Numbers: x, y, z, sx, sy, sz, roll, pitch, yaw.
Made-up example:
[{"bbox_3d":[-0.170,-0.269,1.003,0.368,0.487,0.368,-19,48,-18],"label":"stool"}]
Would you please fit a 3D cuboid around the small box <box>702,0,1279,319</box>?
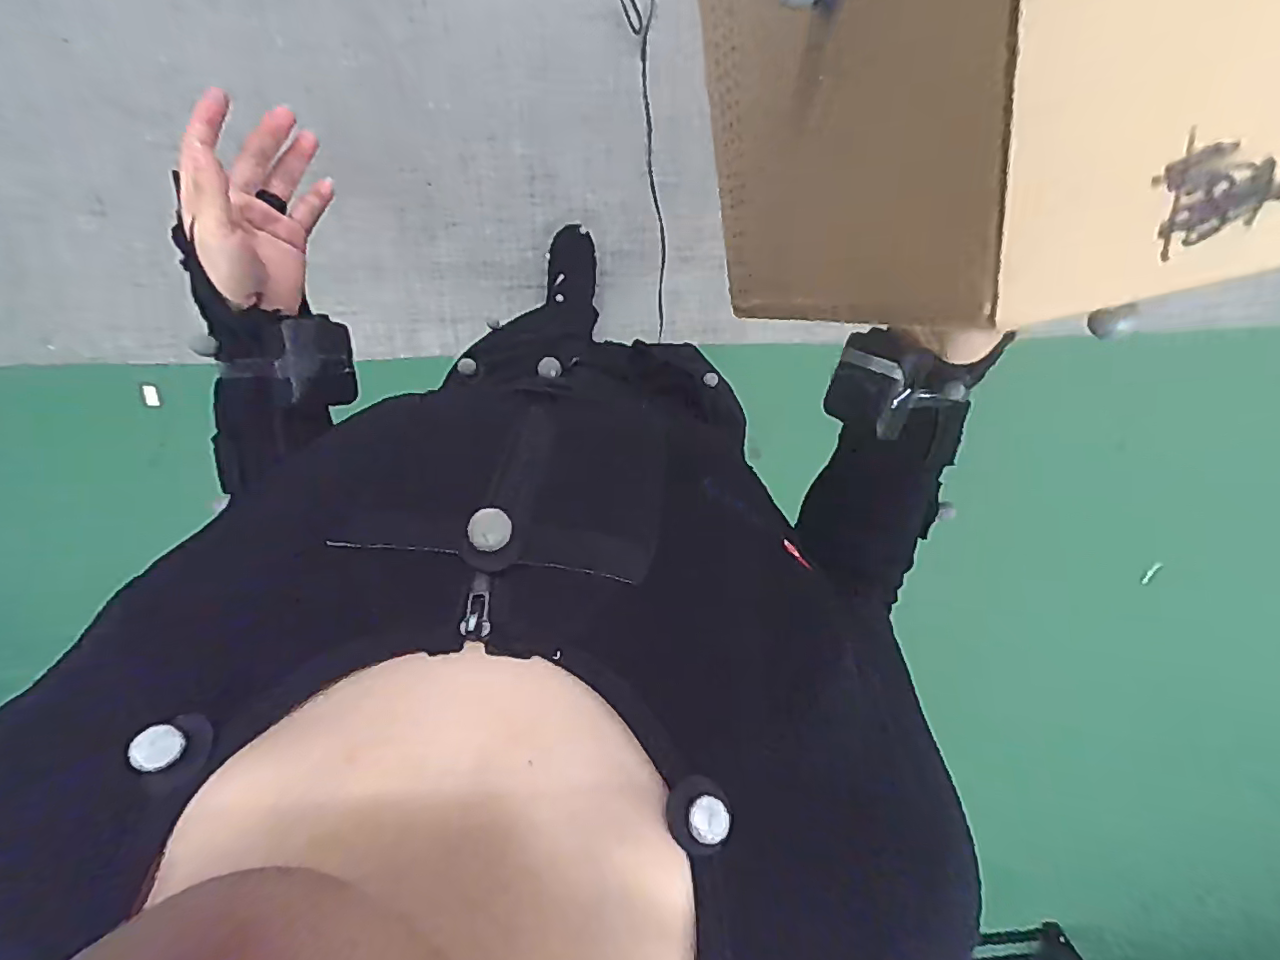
[{"bbox_3d":[0.132,-0.165,0.202,0.168,0.176,0.179,-15,109,-8],"label":"small box"}]
